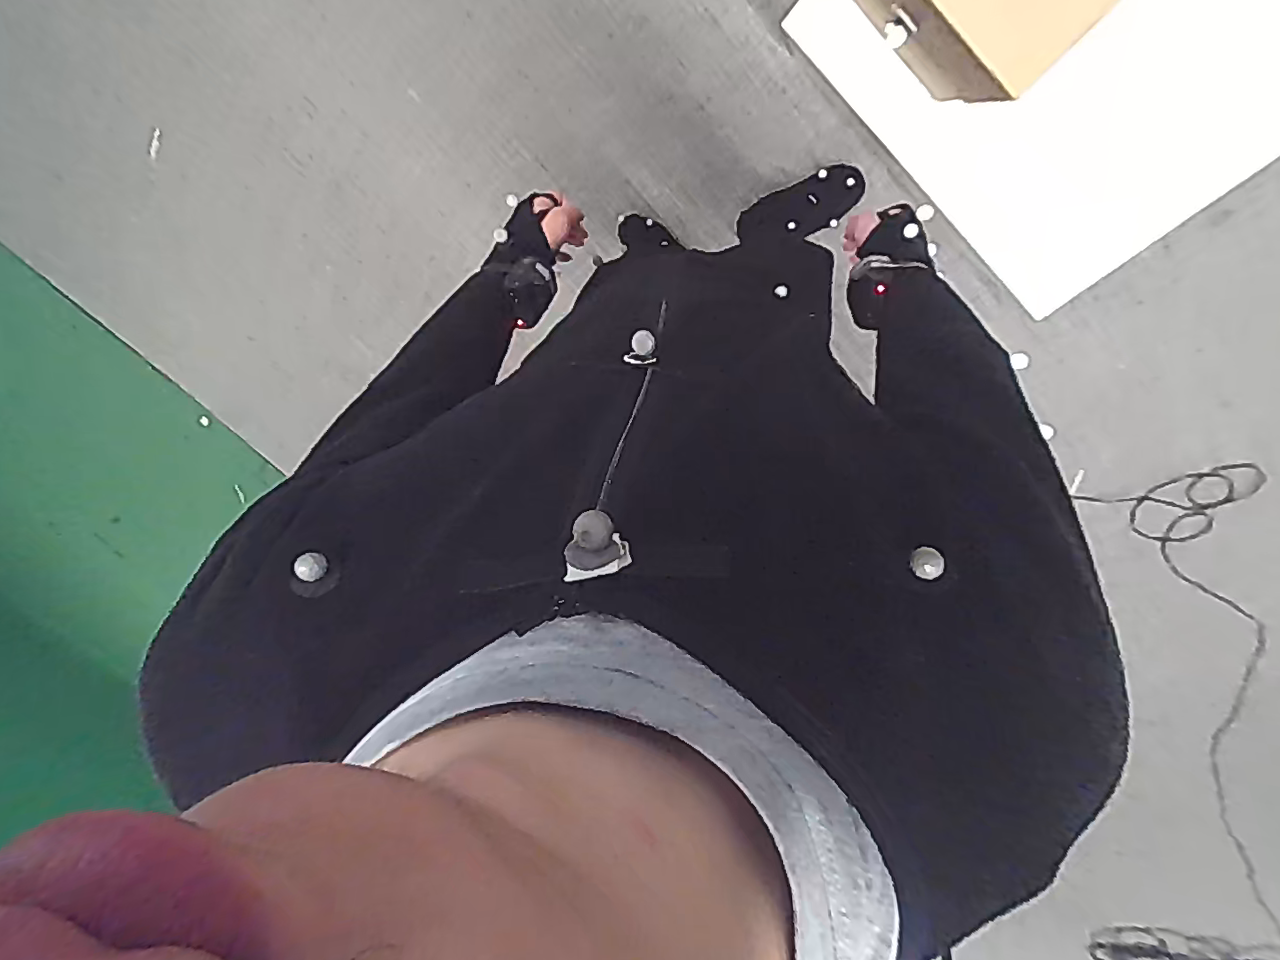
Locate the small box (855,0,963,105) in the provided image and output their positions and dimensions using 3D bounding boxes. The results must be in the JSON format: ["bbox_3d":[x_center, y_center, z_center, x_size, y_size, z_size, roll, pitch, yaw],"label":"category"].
[{"bbox_3d":[0.329,-0.500,0.515,0.168,0.176,0.179,41,125,-12],"label":"small box"}]

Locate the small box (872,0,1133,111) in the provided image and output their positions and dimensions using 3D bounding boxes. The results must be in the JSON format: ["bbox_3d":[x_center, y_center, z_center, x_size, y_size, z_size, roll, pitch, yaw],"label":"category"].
[{"bbox_3d":[0.283,-0.407,0.389,0.168,0.176,0.179,41,127,-9],"label":"small box"}]
